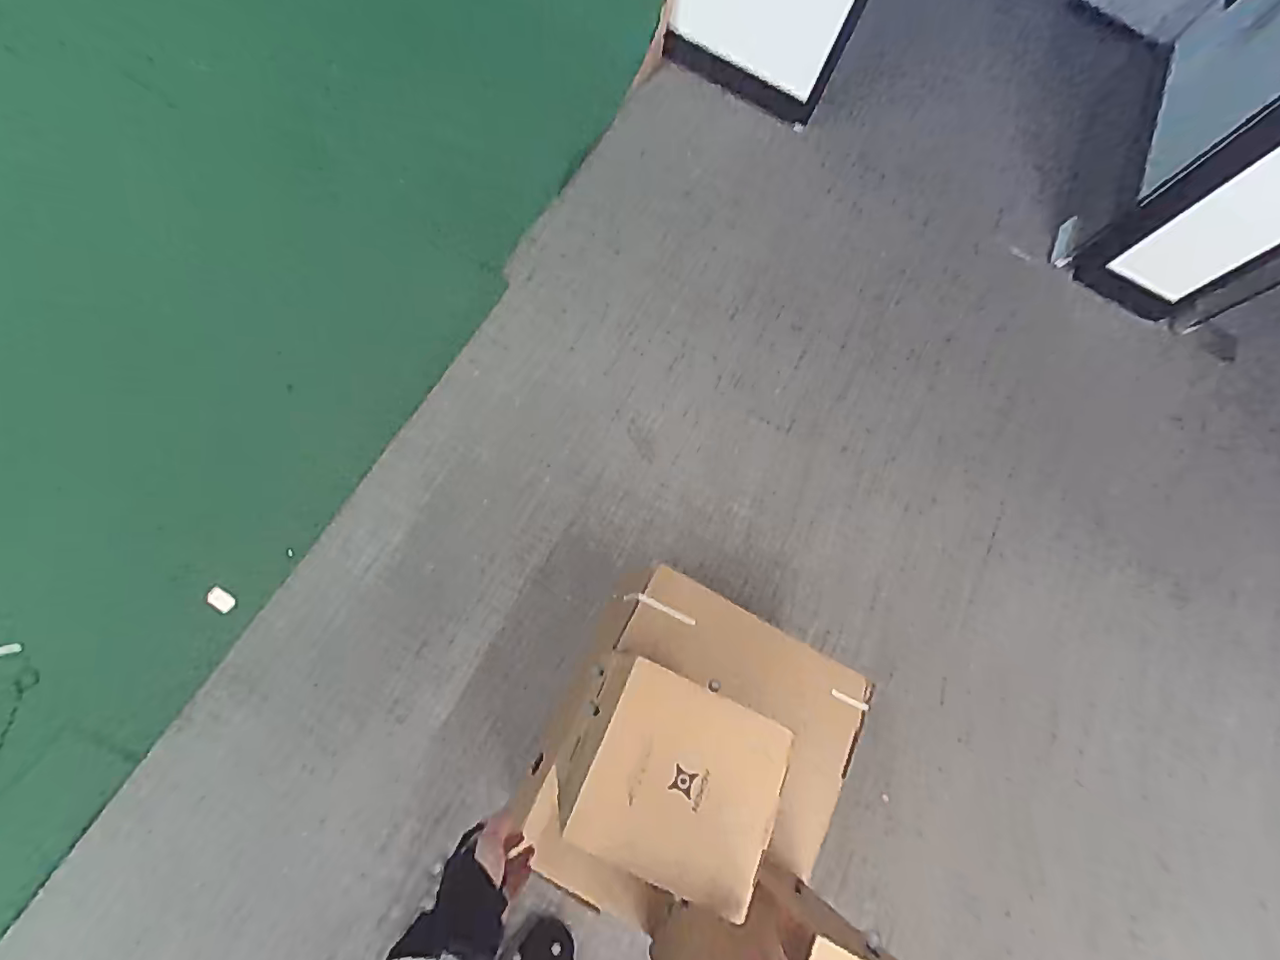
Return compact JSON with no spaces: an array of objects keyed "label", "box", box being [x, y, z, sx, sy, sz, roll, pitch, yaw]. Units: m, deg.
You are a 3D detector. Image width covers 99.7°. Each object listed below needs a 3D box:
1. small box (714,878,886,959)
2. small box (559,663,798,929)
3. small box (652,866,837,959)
[{"label":"small box","box":[0.165,0.529,0.512,0.168,0.176,0.179,30,71,0]},{"label":"small box","box":[0.029,0.305,0.564,0.179,0.176,0.168,27,68,1]},{"label":"small box","box":[0.137,0.582,0.664,0.179,0.176,0.168,30,69,0]}]
